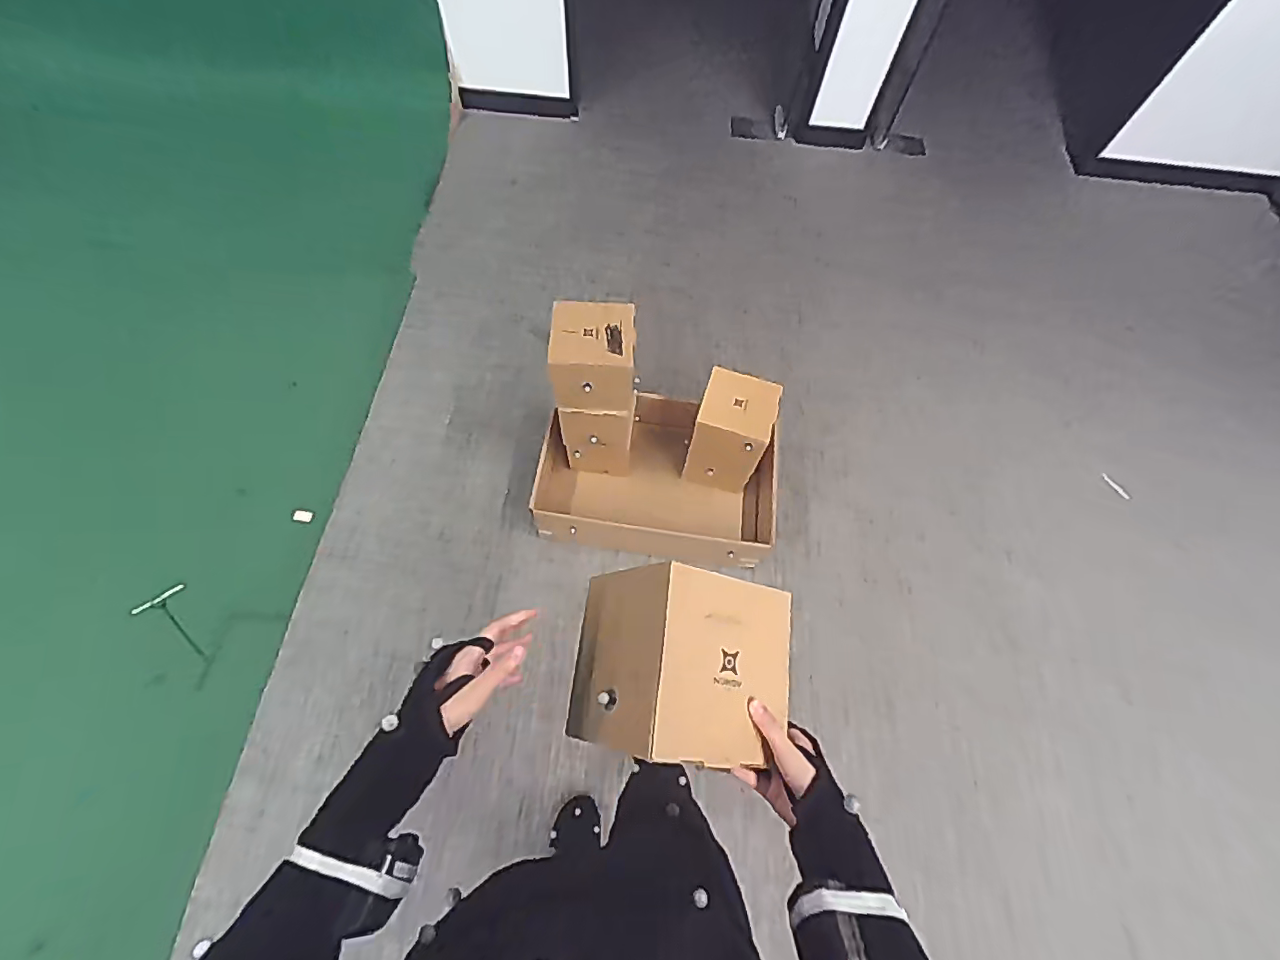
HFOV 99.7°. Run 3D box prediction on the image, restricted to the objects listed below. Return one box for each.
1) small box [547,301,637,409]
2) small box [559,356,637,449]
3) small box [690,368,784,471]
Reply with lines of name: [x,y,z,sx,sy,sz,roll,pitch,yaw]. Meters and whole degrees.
small box: [-0.099,-0.269,1.189,0.179,0.176,0.168,2,65,0]
small box: [-0.101,-0.197,1.337,0.168,0.176,0.179,5,66,1]
small box: [0.233,-0.142,1.333,0.179,0.176,0.168,18,67,5]
